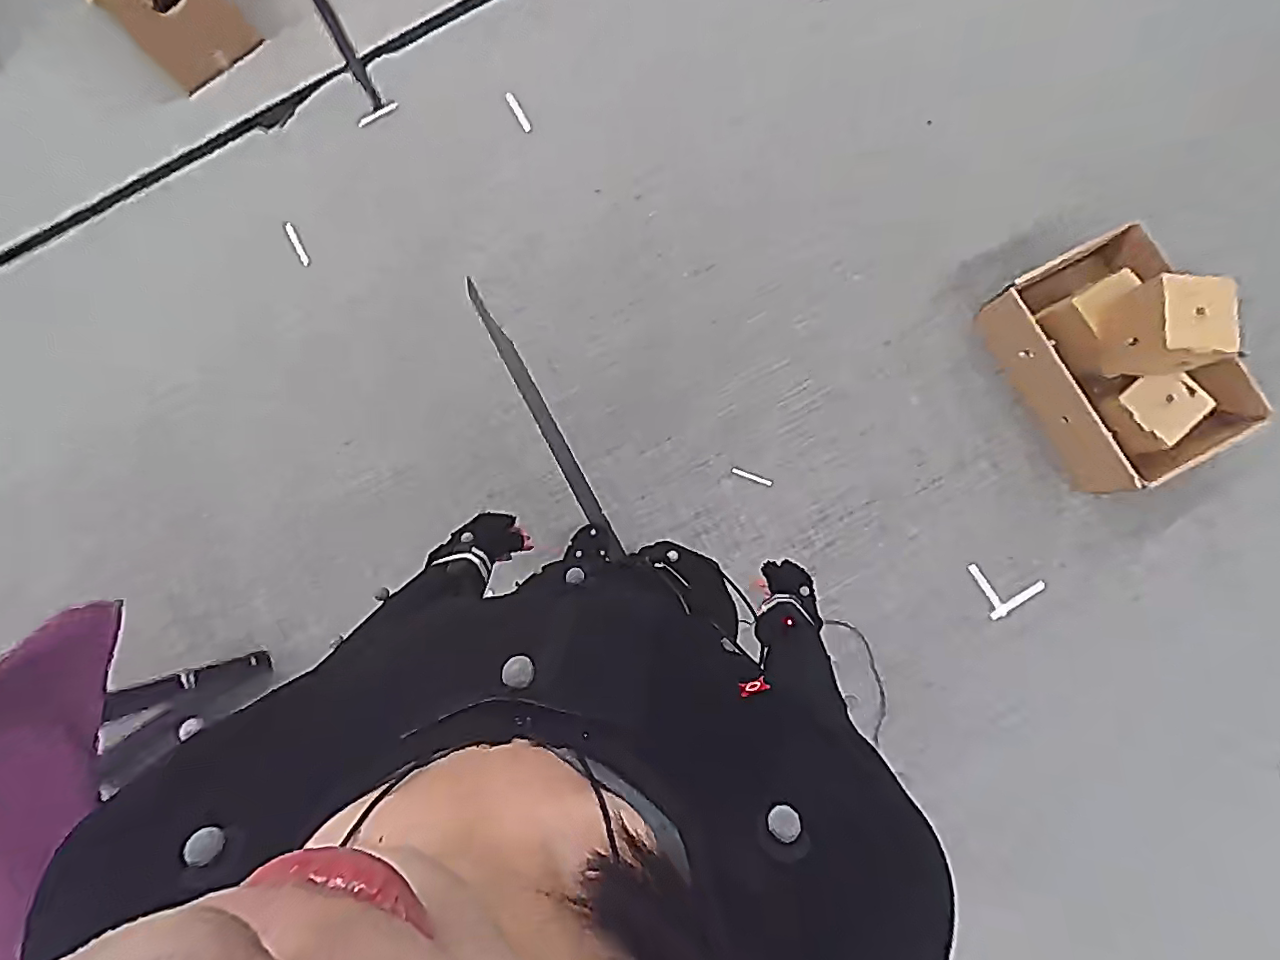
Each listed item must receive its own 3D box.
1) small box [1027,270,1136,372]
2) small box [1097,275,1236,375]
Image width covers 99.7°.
[{"bbox_3d":[1.201,-0.418,1.446,0.179,0.176,0.168,-31,84,-3],"label":"small box"},{"bbox_3d":[1.229,-0.357,1.275,0.168,0.176,0.179,4,82,-1],"label":"small box"}]
